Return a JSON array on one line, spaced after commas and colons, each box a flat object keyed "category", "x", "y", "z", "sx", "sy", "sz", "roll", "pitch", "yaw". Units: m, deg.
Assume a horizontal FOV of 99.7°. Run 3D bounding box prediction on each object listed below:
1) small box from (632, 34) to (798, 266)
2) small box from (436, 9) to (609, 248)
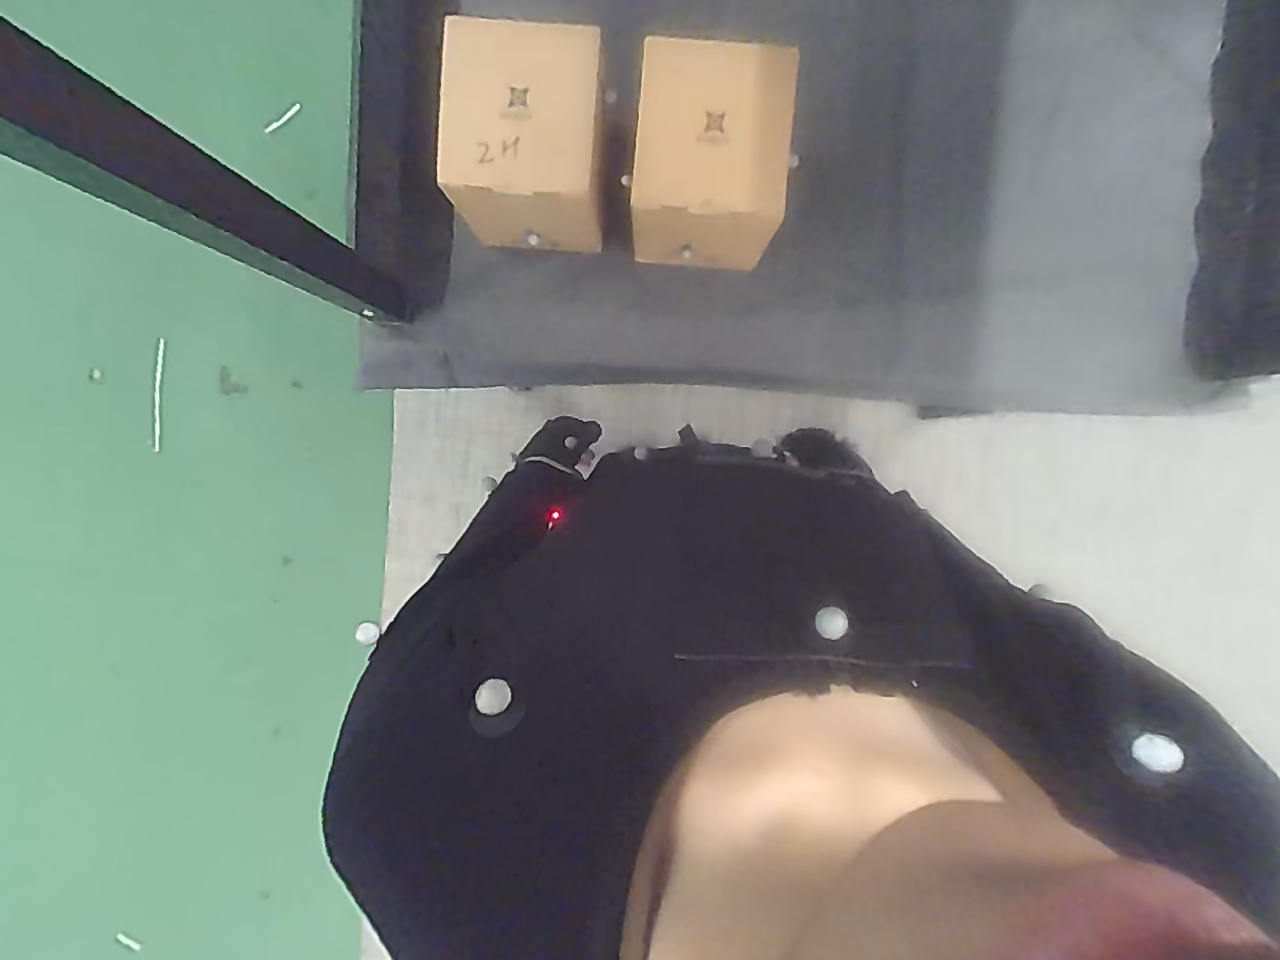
[{"category": "small box", "x": 0.078, "y": -0.380, "z": 0.652, "sx": 0.168, "sy": 0.176, "sz": 0.179, "roll": 5, "pitch": 94, "yaw": 0}, {"category": "small box", "x": -0.128, "y": -0.404, "z": 0.650, "sx": 0.168, "sy": 0.176, "sz": 0.179, "roll": 5, "pitch": 93, "yaw": 0}]
